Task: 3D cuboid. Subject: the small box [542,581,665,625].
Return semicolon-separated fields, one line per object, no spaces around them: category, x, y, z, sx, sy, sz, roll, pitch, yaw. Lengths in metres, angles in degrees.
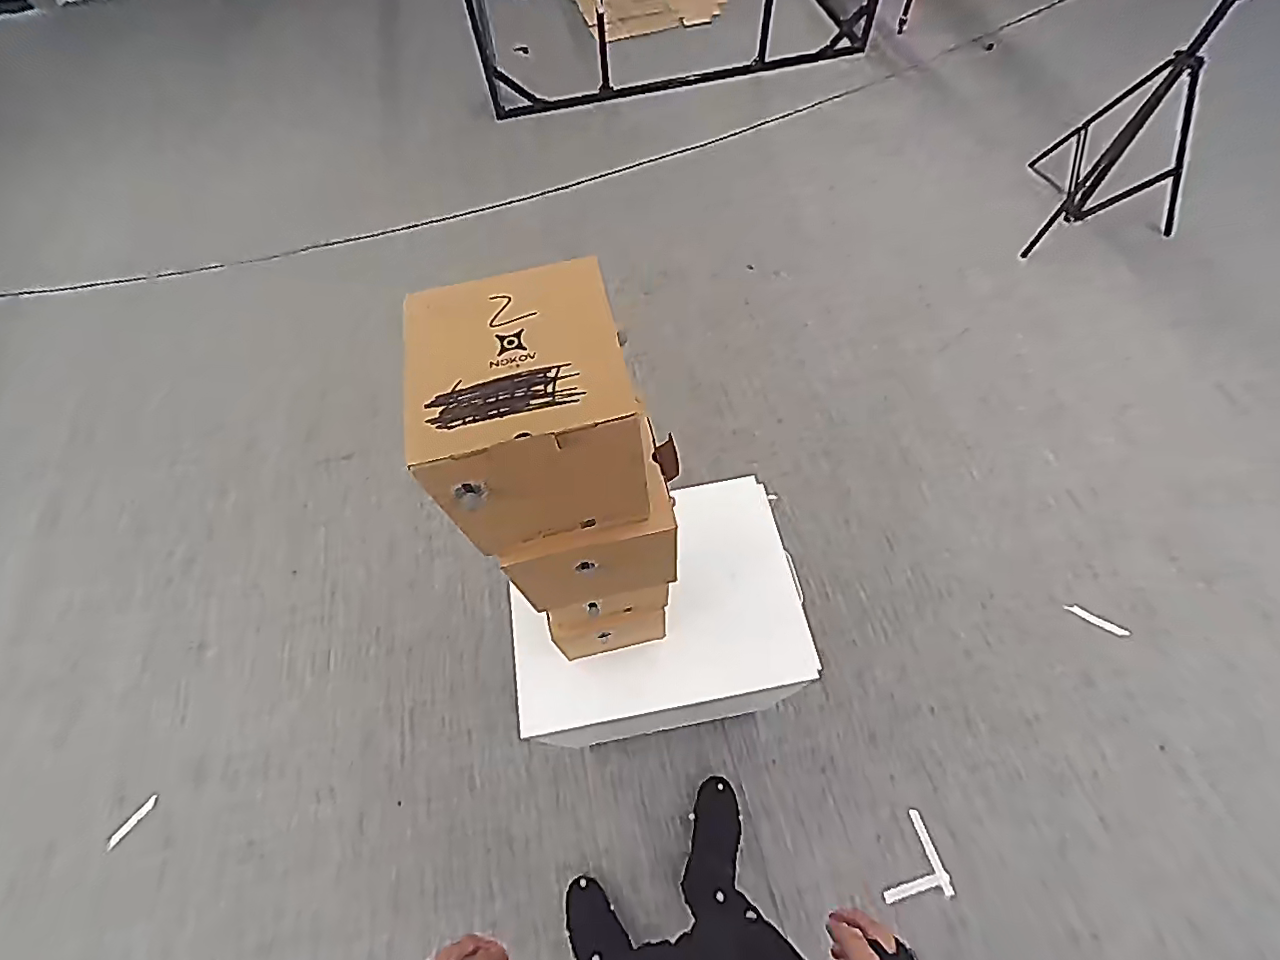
small box;-0.059;0.099;0.778;0.168;0.176;0.179;-11;61;-4

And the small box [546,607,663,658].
small box;-0.062;0.190;0.913;0.179;0.176;0.168;-12;62;-5

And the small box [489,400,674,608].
small box;-0.061;0.036;0.625;0.179;0.176;0.168;-11;62;-4
